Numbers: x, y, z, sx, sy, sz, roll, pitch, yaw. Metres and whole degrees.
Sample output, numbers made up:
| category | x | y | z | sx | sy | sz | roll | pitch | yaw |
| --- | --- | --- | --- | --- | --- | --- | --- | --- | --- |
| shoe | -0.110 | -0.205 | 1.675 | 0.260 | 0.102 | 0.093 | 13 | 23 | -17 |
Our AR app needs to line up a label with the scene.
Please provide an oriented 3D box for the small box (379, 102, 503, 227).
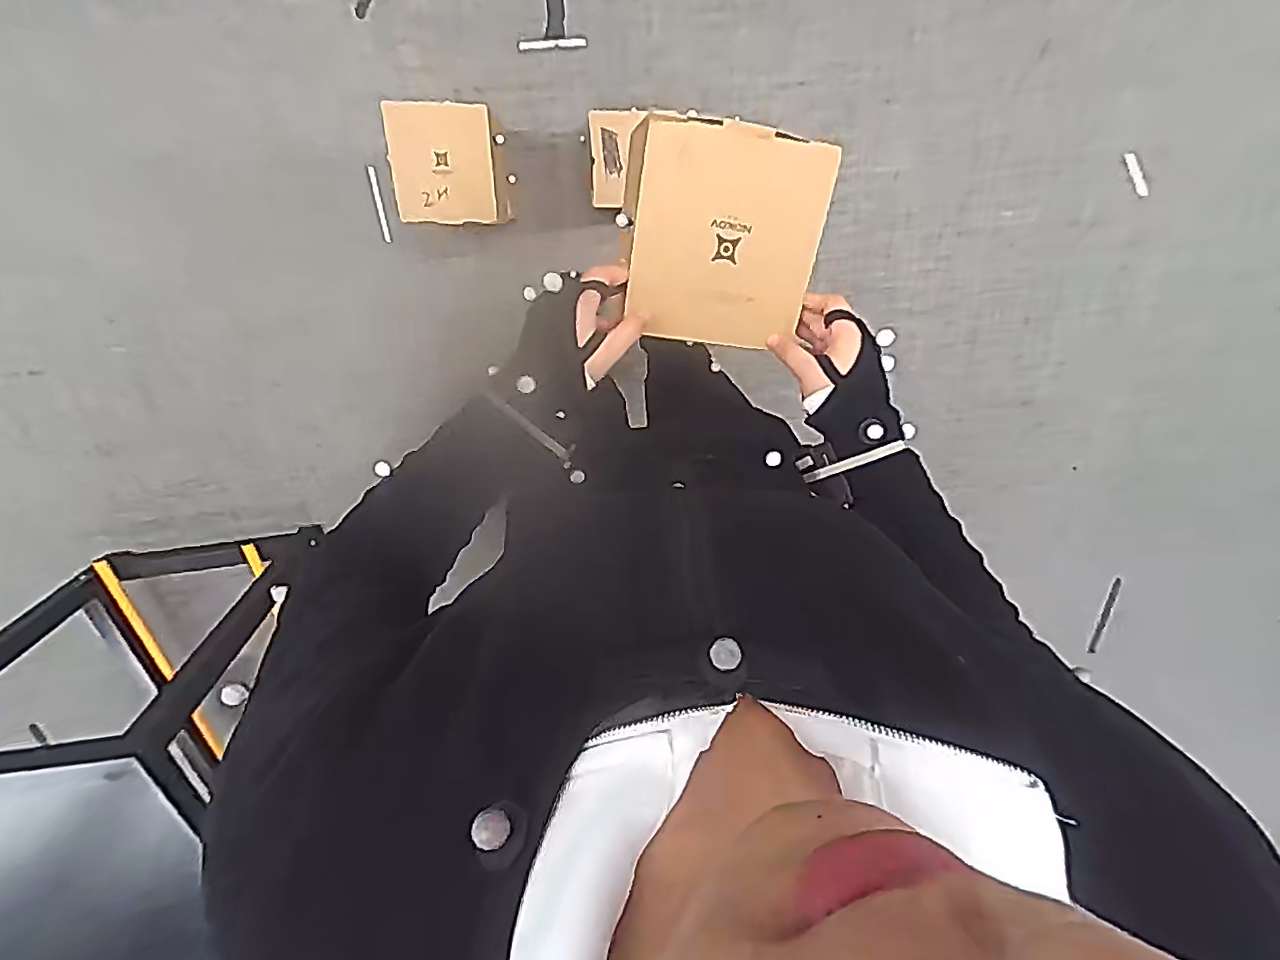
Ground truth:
| category | x | y | z | sx | sy | sz | roll | pitch | yaw |
| --- | --- | --- | --- | --- | --- | --- | --- | --- | --- |
| small box | -0.341 | -0.549 | 0.961 | 0.168 | 0.176 | 0.179 | -2 | 117 | -6 |

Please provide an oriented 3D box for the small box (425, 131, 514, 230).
| category | x | y | z | sx | sy | sz | roll | pitch | yaw |
| --- | --- | --- | --- | --- | --- | --- | --- | --- | --- |
| small box | -0.361 | -0.620 | 1.110 | 0.168 | 0.176 | 0.179 | -7 | 118 | -4 |

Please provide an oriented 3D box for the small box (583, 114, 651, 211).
| category | x | y | z | sx | sy | sz | roll | pitch | yaw |
| --- | --- | --- | --- | --- | --- | --- | --- | --- | --- |
| small box | -0.030 | -0.658 | 1.137 | 0.179 | 0.176 | 0.168 | -4 | 117 | -7 |

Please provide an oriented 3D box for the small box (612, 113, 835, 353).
| category | x | y | z | sx | sy | sz | roll | pitch | yaw |
| --- | --- | --- | --- | --- | --- | --- | --- | --- | --- |
| small box | 0.064 | -0.243 | 0.545 | 0.168 | 0.176 | 0.179 | 4 | 117 | -9 |
